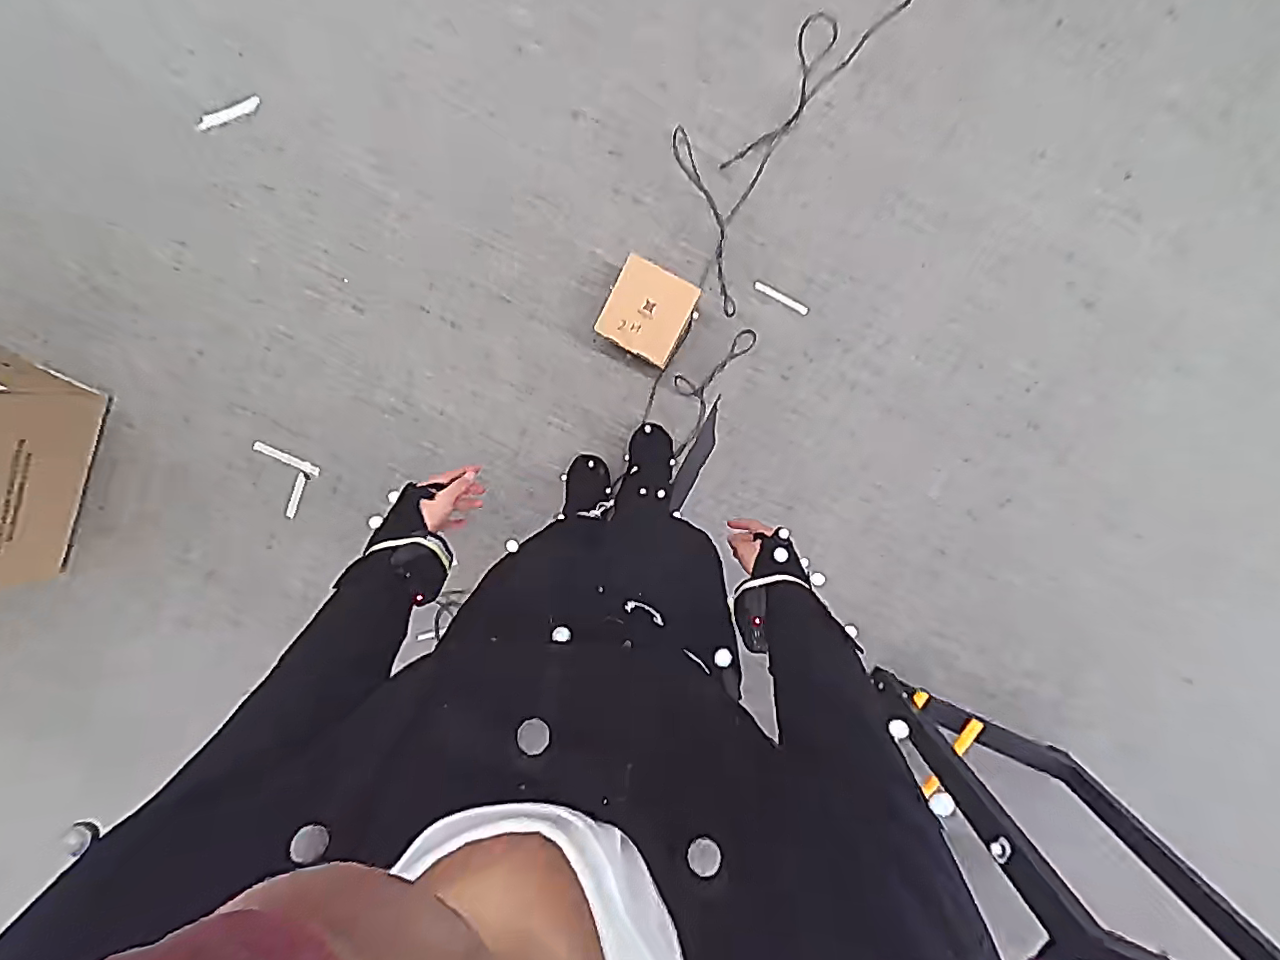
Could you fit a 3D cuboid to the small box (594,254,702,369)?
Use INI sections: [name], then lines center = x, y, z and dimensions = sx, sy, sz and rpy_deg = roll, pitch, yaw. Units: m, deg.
[small box]
center = 0.018, -0.357, 1.182
dimensions = 0.168, 0.176, 0.179
rpy_deg = 28, 100, -1
